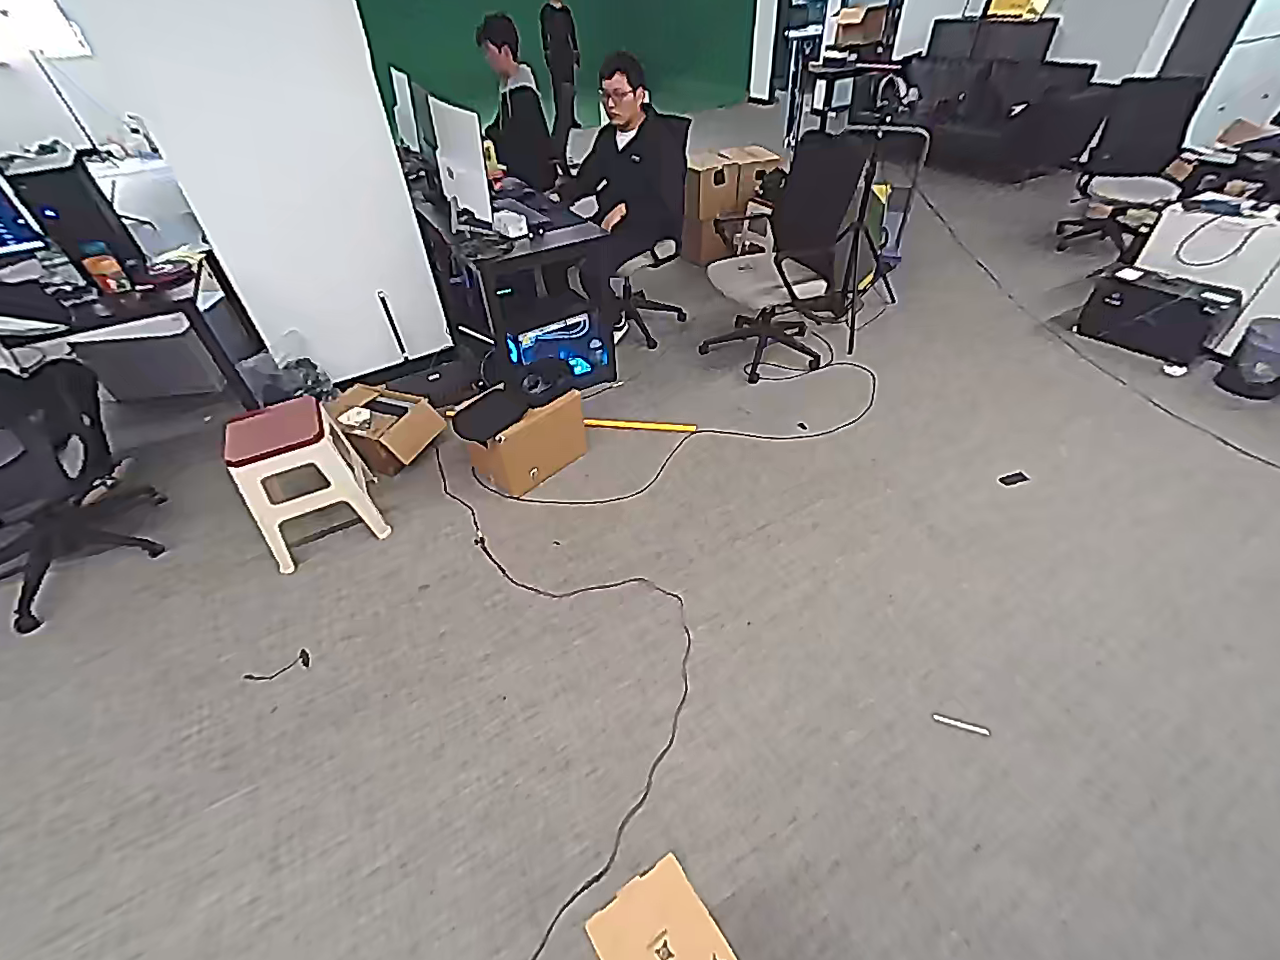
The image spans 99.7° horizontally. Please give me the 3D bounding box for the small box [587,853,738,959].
[{"bbox_3d":[0.035,0.736,0.838,0.168,0.176,0.179,-26,47,-23],"label":"small box"}]
